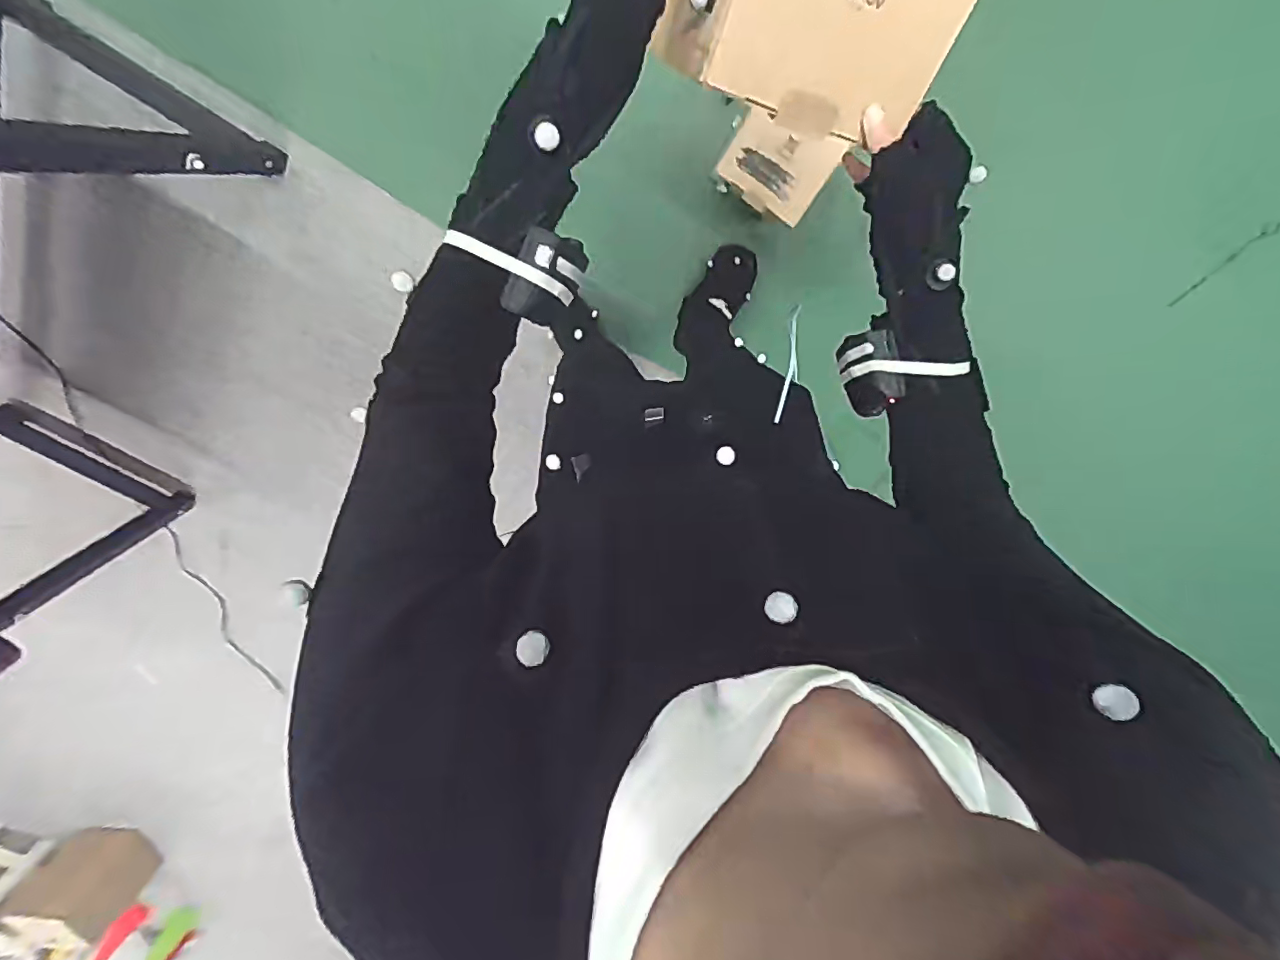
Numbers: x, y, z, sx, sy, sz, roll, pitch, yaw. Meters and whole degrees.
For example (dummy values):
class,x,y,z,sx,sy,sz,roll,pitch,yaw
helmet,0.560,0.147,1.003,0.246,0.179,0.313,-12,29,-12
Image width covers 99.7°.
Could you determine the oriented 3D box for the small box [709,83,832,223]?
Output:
class,x,y,z,sx,sy,sz,roll,pitch,yaw
small box,0.255,-0.654,1.100,0.168,0.176,0.179,32,116,-12
